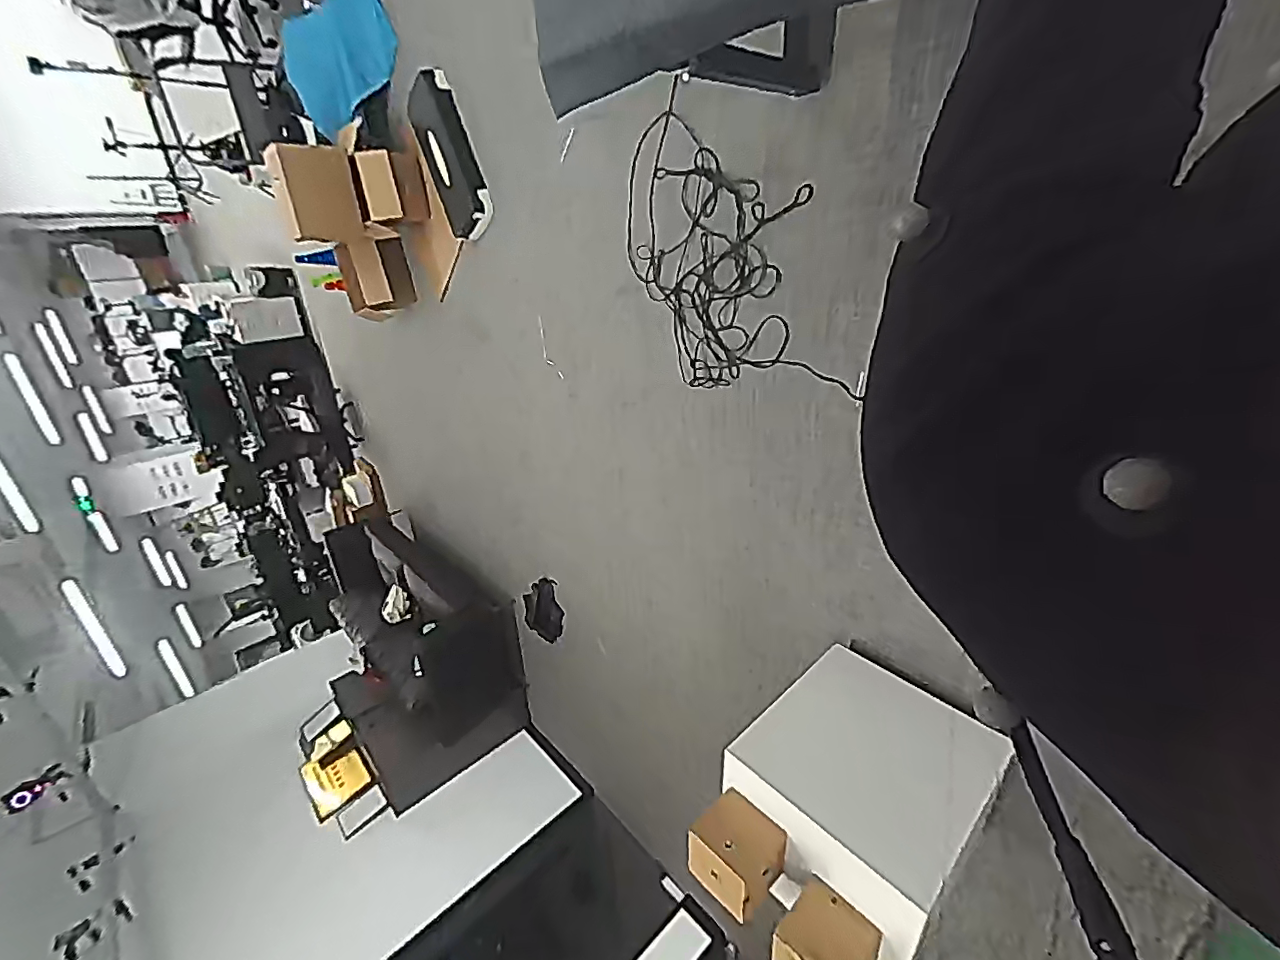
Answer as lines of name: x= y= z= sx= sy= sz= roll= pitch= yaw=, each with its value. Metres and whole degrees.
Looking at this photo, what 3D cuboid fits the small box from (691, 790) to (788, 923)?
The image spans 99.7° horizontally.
small box: x=0.246 y=0.921 z=1.340 sx=0.179 sy=0.176 sz=0.168 roll=23 pitch=124 yaw=43
